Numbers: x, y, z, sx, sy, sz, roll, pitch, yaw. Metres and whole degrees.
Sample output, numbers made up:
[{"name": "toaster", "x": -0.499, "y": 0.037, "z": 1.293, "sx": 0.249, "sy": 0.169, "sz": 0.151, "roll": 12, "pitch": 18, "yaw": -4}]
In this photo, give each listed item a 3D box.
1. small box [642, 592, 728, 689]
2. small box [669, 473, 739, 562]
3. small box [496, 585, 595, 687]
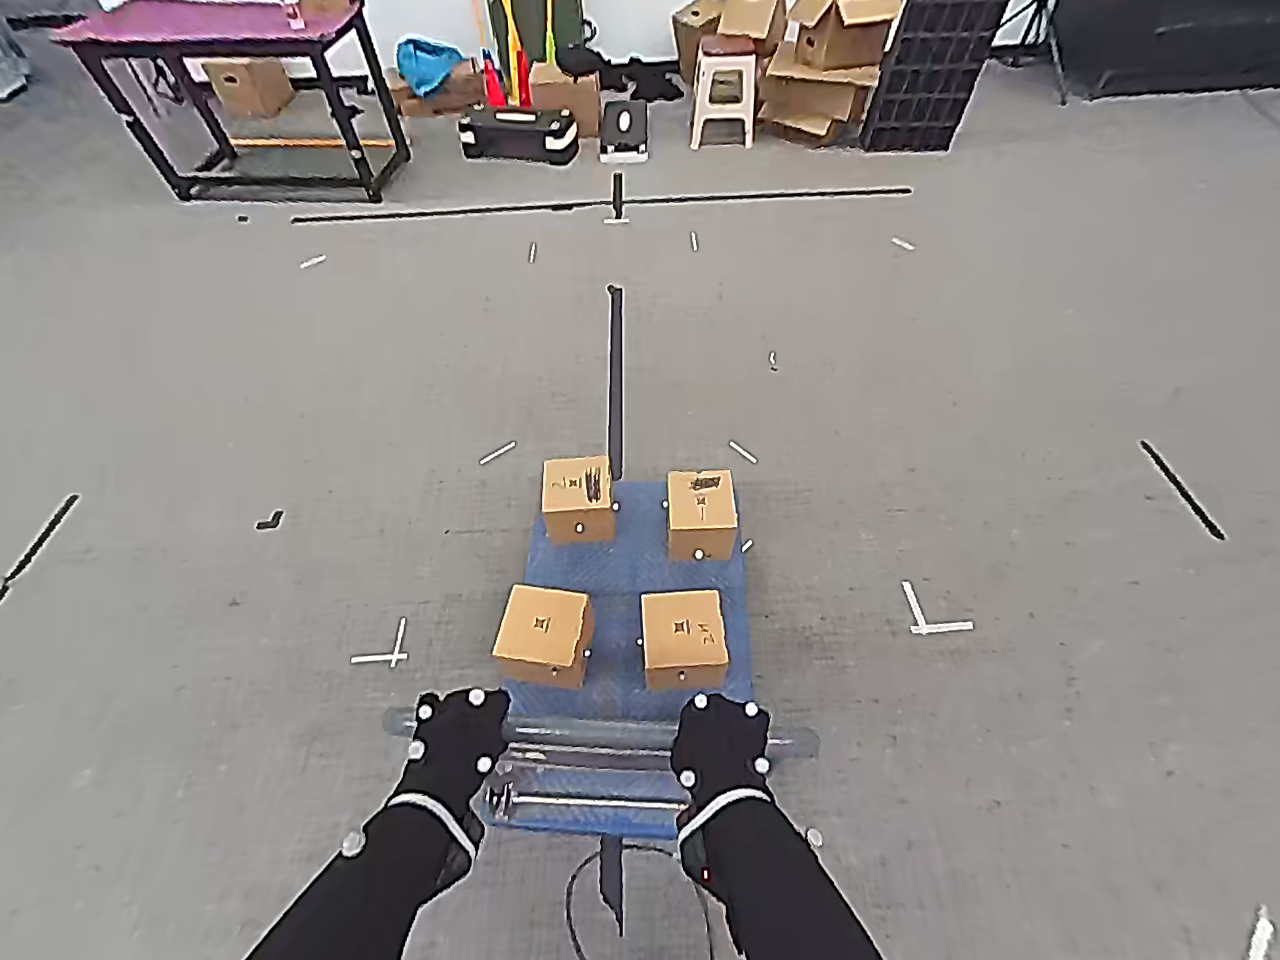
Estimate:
[{"name": "small box", "x": 0.099, "y": 0.369, "z": 1.231, "sx": 0.179, "sy": 0.176, "sz": 0.168, "roll": -3, "pitch": 54, "yaw": 0}, {"name": "small box", "x": 0.162, "y": 0.099, "z": 1.425, "sx": 0.168, "sy": 0.176, "sz": 0.179, "roll": -1, "pitch": 55, "yaw": 2}, {"name": "small box", "x": -0.207, "y": 0.363, "z": 1.247, "sx": 0.179, "sy": 0.176, "sz": 0.168, "roll": 7, "pitch": 54, "yaw": 5}]
